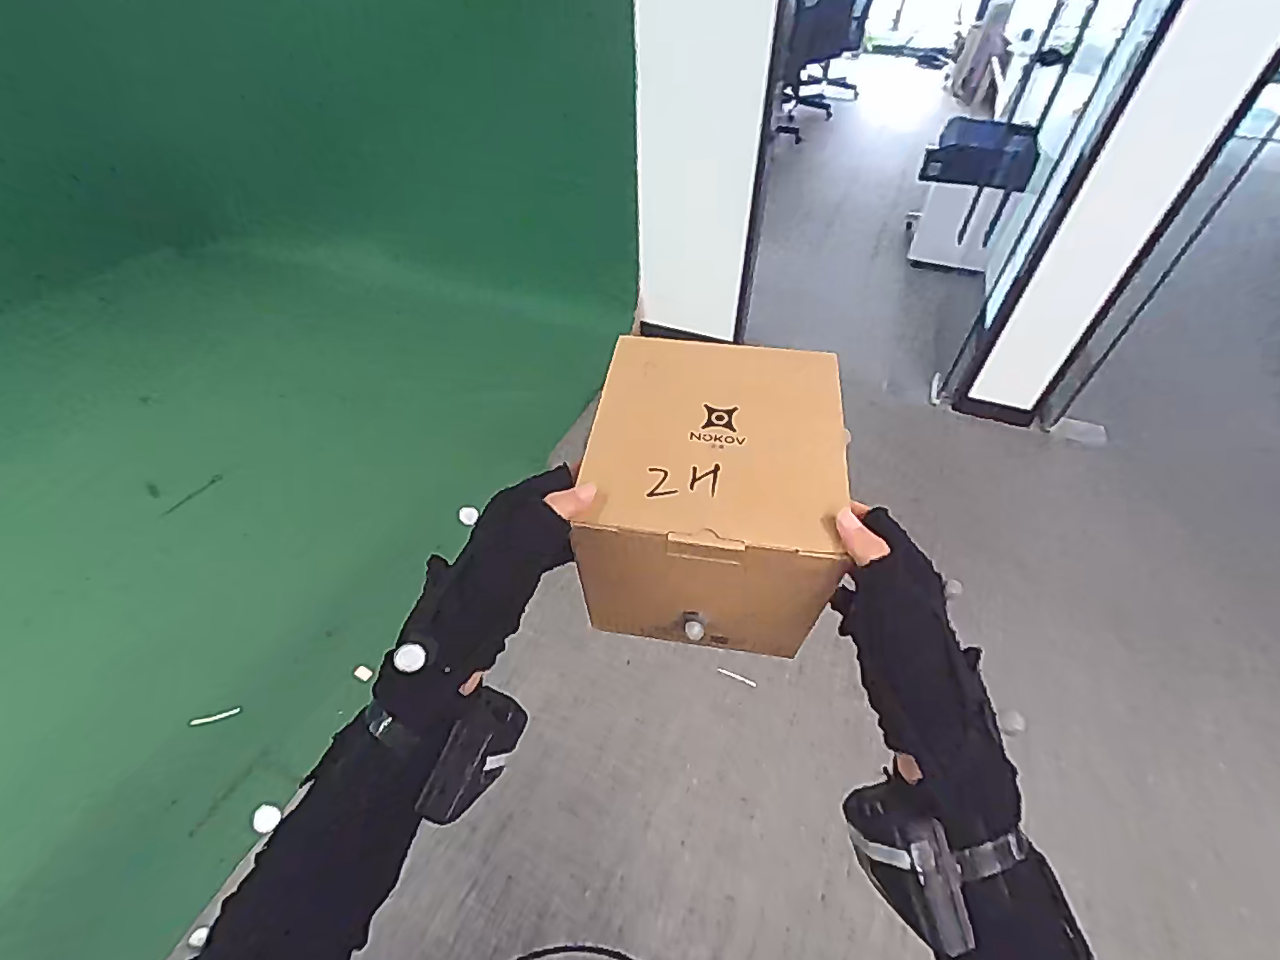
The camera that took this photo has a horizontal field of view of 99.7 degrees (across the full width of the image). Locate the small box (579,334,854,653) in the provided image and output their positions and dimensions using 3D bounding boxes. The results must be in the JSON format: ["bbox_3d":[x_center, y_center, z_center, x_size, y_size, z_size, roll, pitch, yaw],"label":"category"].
[{"bbox_3d":[0.058,0.013,0.428,0.168,0.176,0.179,7,54,8],"label":"small box"}]
